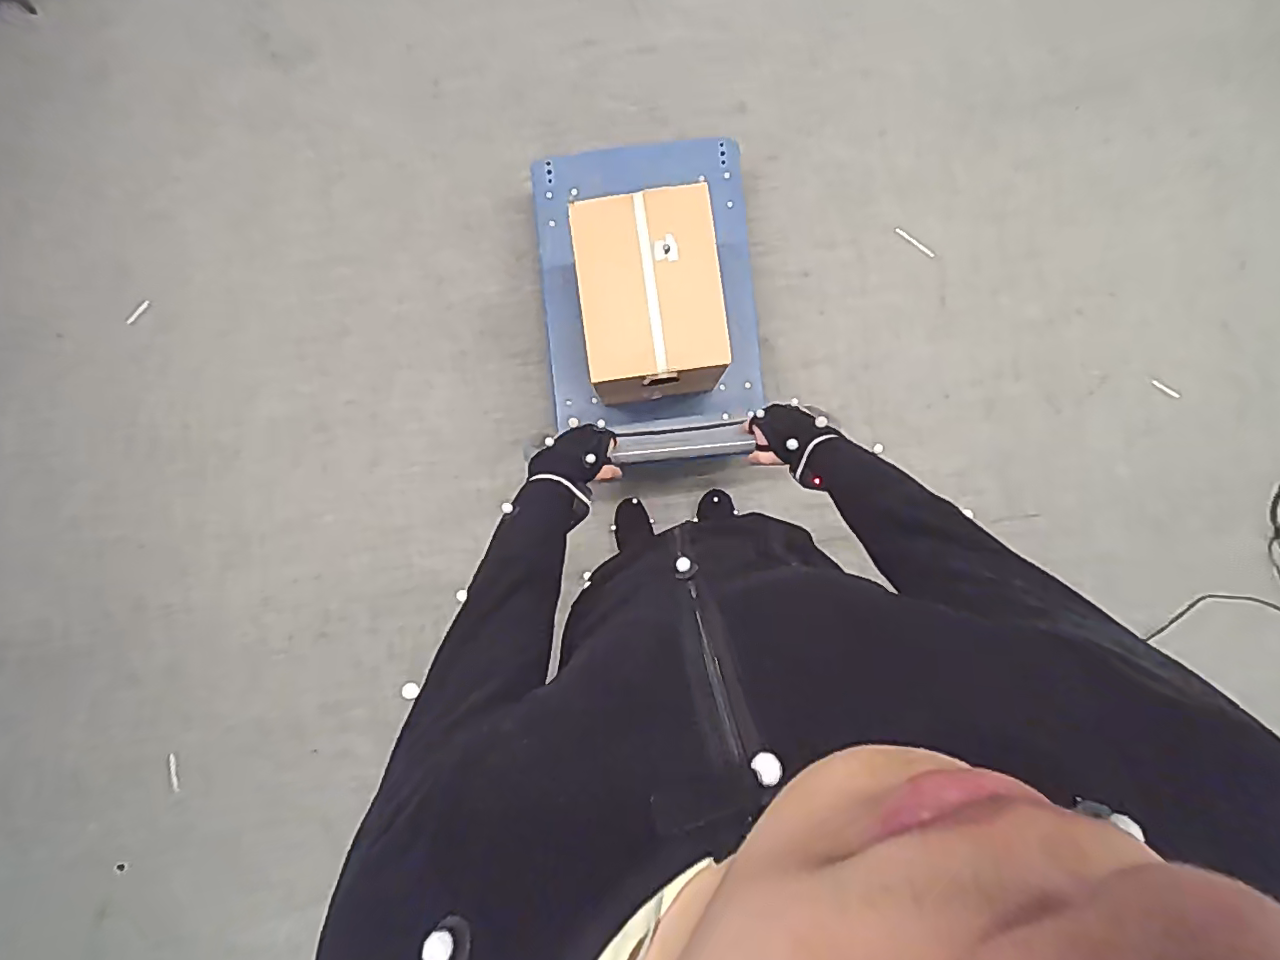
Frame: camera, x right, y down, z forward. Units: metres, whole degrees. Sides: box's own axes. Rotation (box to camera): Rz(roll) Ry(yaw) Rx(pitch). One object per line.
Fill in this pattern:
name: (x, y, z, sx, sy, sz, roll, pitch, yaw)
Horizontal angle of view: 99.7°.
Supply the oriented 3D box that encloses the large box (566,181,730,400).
large box: (0.022, -0.439, 1.337, 0.320, 0.320, 0.408, -8, 89, 1)
